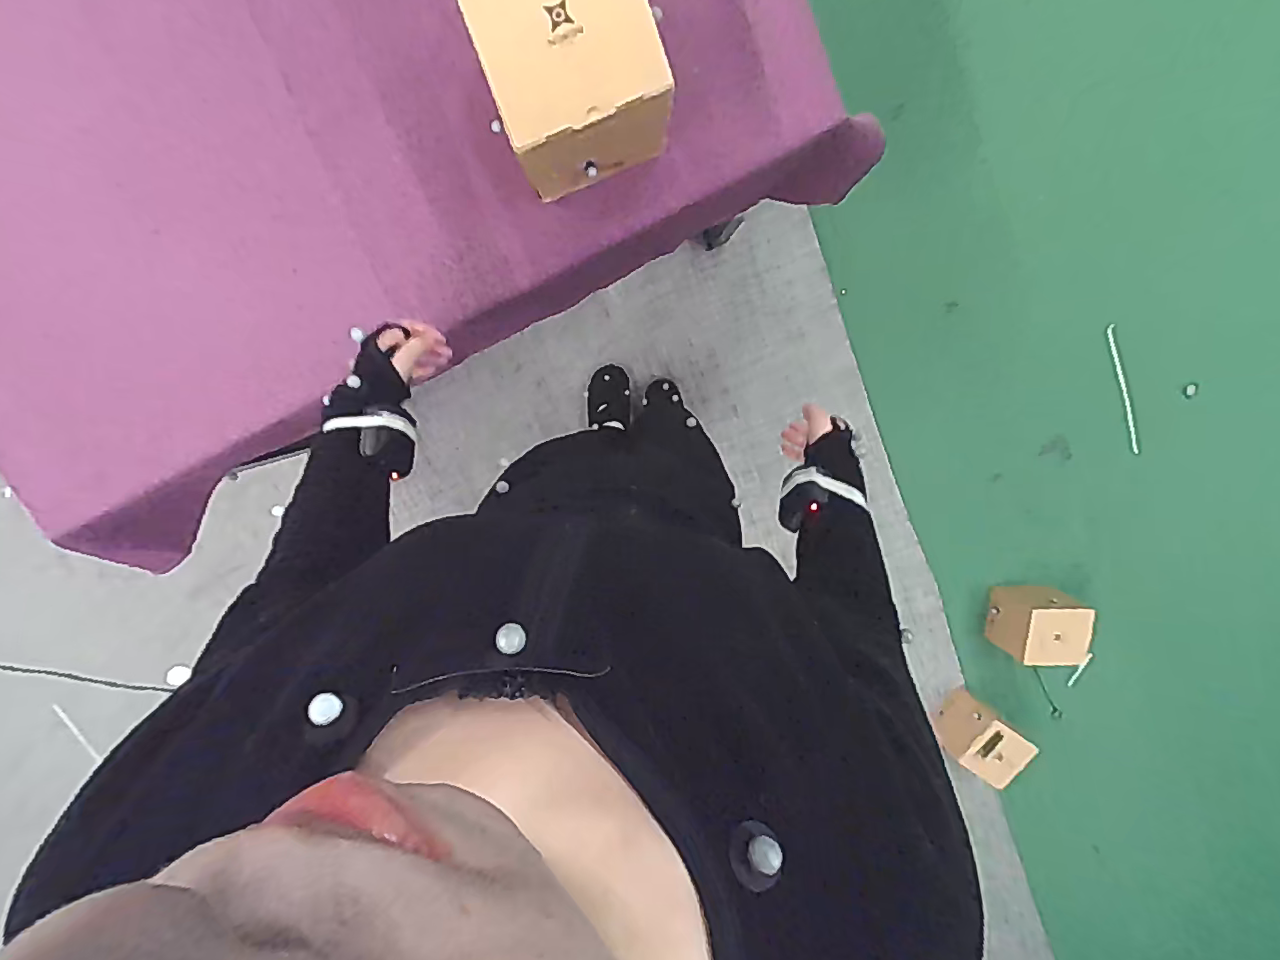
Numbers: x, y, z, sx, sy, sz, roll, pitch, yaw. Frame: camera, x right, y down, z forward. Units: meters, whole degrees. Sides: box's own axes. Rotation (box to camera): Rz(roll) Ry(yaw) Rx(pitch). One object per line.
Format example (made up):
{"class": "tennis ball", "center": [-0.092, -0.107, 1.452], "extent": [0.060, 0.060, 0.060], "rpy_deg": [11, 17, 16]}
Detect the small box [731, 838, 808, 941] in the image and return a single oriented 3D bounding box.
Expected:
{"class": "small box", "center": [0.397, 1.276, 1.693], "extent": [0.179, 0.176, 0.168], "rpy_deg": [-22, 102, 3]}

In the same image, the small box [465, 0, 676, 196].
{"class": "small box", "center": [-0.073, -0.444, 0.583], "extent": [0.168, 0.176, 0.179], "rpy_deg": [-21, 102, 4]}

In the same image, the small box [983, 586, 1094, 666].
{"class": "small box", "center": [1.120, 0.409, 1.532], "extent": [0.179, 0.176, 0.168], "rpy_deg": [1, 102, -2]}
